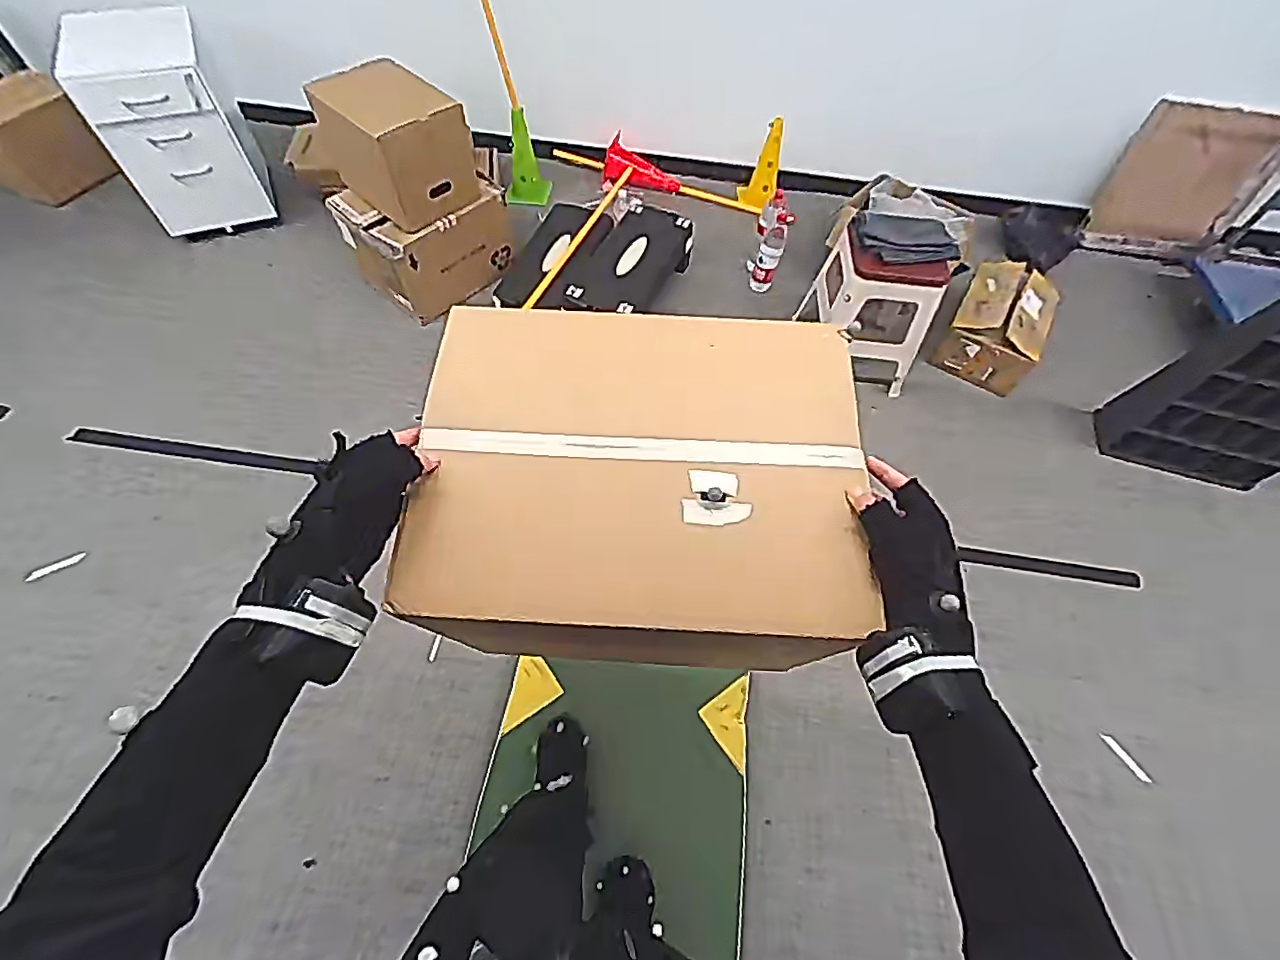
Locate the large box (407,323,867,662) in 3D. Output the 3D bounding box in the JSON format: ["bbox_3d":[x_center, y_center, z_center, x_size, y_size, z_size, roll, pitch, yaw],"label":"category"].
[{"bbox_3d":[-0.002,0.039,0.655,0.408,0.320,0.320,3,67,0],"label":"large box"}]
